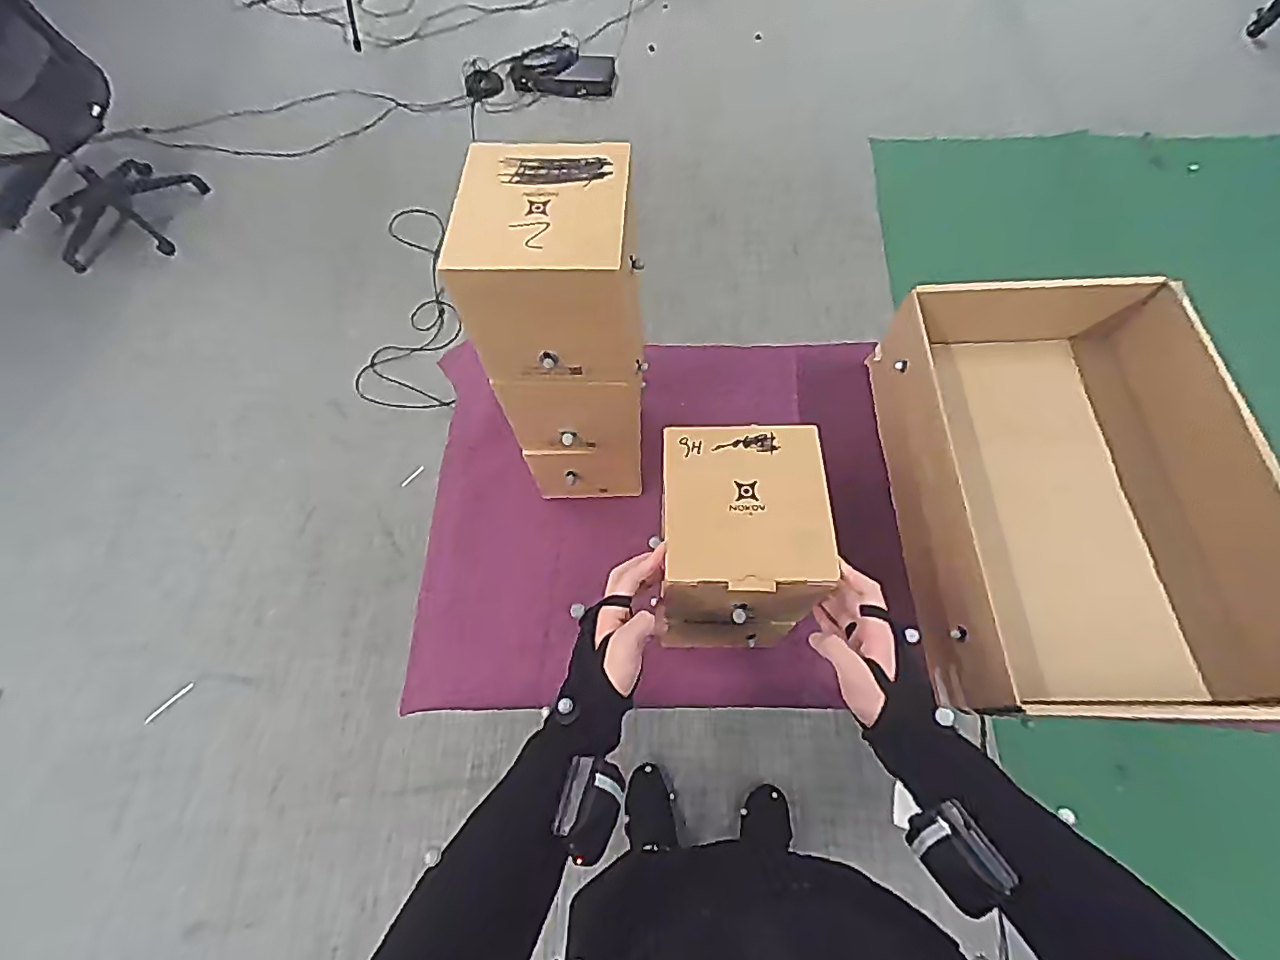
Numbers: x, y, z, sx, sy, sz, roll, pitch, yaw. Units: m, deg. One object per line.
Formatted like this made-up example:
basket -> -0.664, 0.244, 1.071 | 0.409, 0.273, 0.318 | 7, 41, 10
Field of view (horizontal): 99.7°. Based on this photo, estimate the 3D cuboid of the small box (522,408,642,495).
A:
small box -> -0.084, -0.081, 0.878 | 0.168, 0.176, 0.179 | -2, 64, 2

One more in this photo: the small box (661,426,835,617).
small box -> 0.108, 0.055, 0.616 | 0.168, 0.176, 0.179 | 0, 64, 3

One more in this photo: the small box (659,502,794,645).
small box -> 0.112, 0.131, 0.764 | 0.168, 0.176, 0.179 | 0, 63, 2

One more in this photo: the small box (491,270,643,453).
small box -> -0.084, -0.155, 0.731 | 0.168, 0.176, 0.179 | 2, 65, 4
